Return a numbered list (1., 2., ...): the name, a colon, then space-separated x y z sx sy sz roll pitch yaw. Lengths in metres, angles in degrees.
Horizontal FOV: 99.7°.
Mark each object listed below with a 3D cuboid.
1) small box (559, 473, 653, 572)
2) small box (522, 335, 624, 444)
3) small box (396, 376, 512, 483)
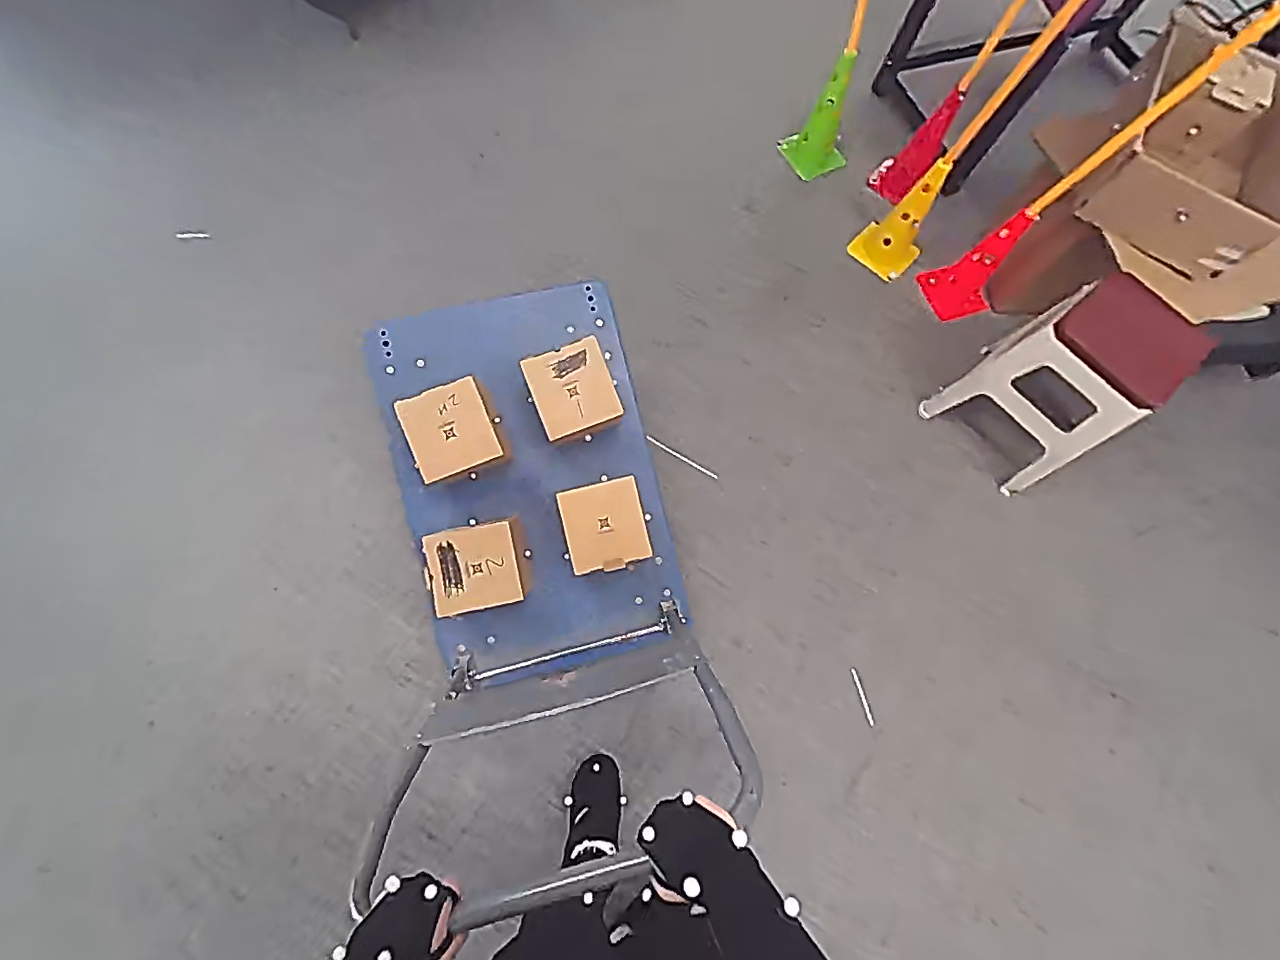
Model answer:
1. small box: -0.078 0.089 1.187 0.168 0.176 0.179 -14 91 -5
2. small box: -0.144 -0.190 1.183 0.168 0.176 0.179 -21 91 -5
3. small box: -0.388 -0.102 1.160 0.168 0.176 0.179 -22 91 -6
